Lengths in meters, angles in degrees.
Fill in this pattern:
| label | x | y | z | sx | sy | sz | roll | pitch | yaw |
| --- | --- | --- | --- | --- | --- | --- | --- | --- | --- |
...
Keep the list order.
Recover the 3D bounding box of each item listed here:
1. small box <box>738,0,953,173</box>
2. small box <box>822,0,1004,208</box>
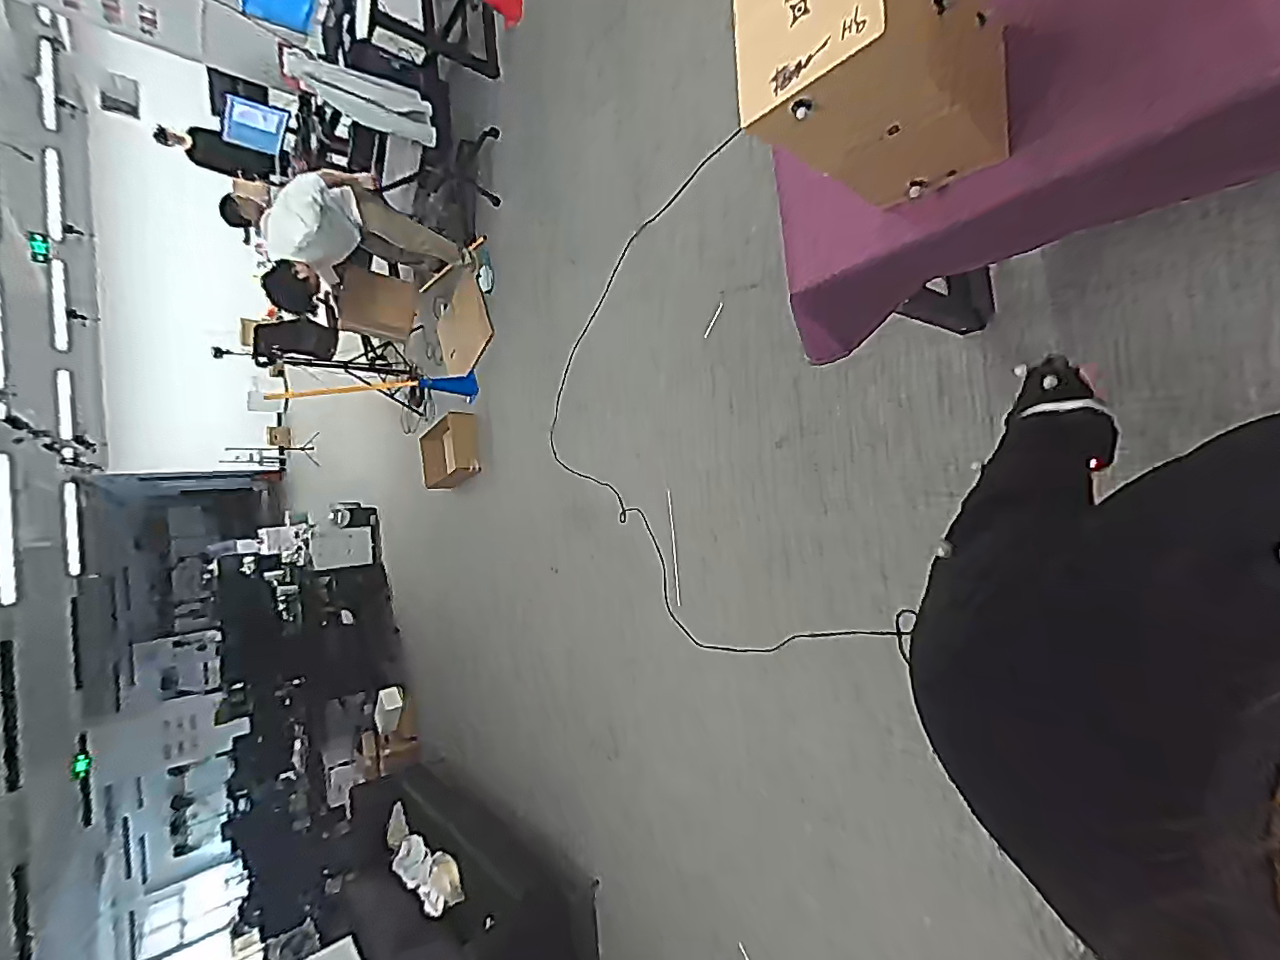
| label | x | y | z | sx | sy | sz | roll | pitch | yaw |
| --- | --- | --- | --- | --- | --- | --- | --- | --- | --- |
| small box | 0.227 | -0.485 | 0.600 | 0.168 | 0.176 | 0.179 | -3 | 89 | 51 |
| small box | 0.354 | -0.491 | 0.706 | 0.168 | 0.176 | 0.179 | -2 | 91 | 50 |
